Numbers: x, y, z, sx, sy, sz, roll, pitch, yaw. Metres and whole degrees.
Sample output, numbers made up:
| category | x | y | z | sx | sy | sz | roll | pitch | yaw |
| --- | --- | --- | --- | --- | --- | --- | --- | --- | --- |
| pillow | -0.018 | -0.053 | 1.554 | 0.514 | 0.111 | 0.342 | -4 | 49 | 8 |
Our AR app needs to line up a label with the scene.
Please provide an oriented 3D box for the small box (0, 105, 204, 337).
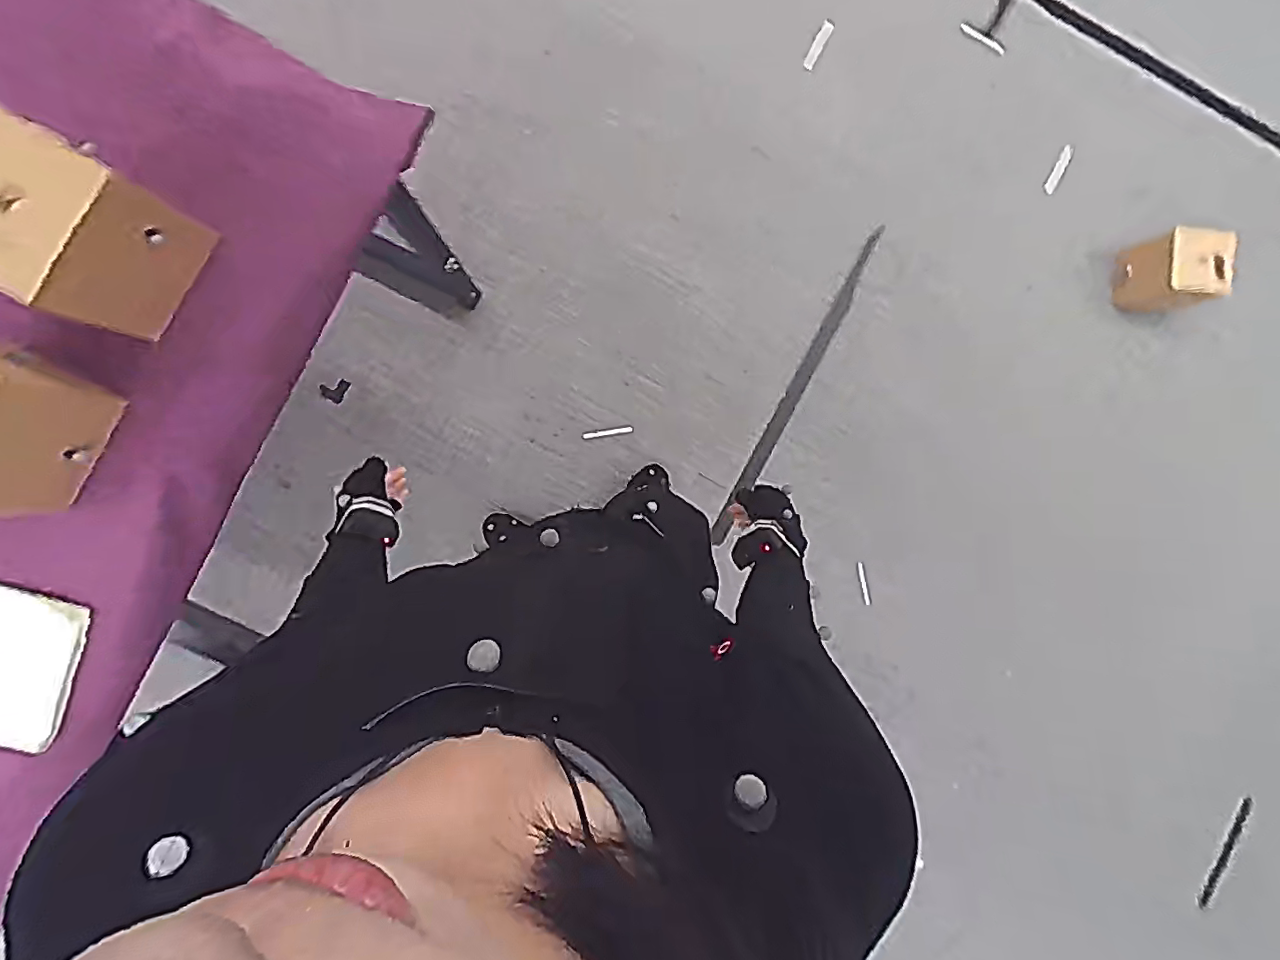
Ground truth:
| category | x | y | z | sx | sy | sz | roll | pitch | yaw |
| --- | --- | --- | --- | --- | --- | --- | --- | --- | --- |
| small box | -0.696 | -0.306 | 0.664 | 0.168 | 0.176 | 0.179 | 30 | 90 | -1 |

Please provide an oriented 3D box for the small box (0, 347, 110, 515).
| category | x | y | z | sx | sy | sz | roll | pitch | yaw |
| --- | --- | --- | --- | --- | --- | --- | --- | --- | --- |
| small box | -0.817 | -0.069 | 0.655 | 0.168 | 0.176 | 0.179 | 27 | 88 | -3 |

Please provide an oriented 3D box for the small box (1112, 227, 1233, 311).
| category | x | y | z | sx | sy | sz | roll | pitch | yaw |
| --- | --- | --- | --- | --- | --- | --- | --- | --- | --- |
| small box | 1.507 | -0.591 | 1.536 | 0.179 | 0.176 | 0.168 | 5 | 89 | -3 |
